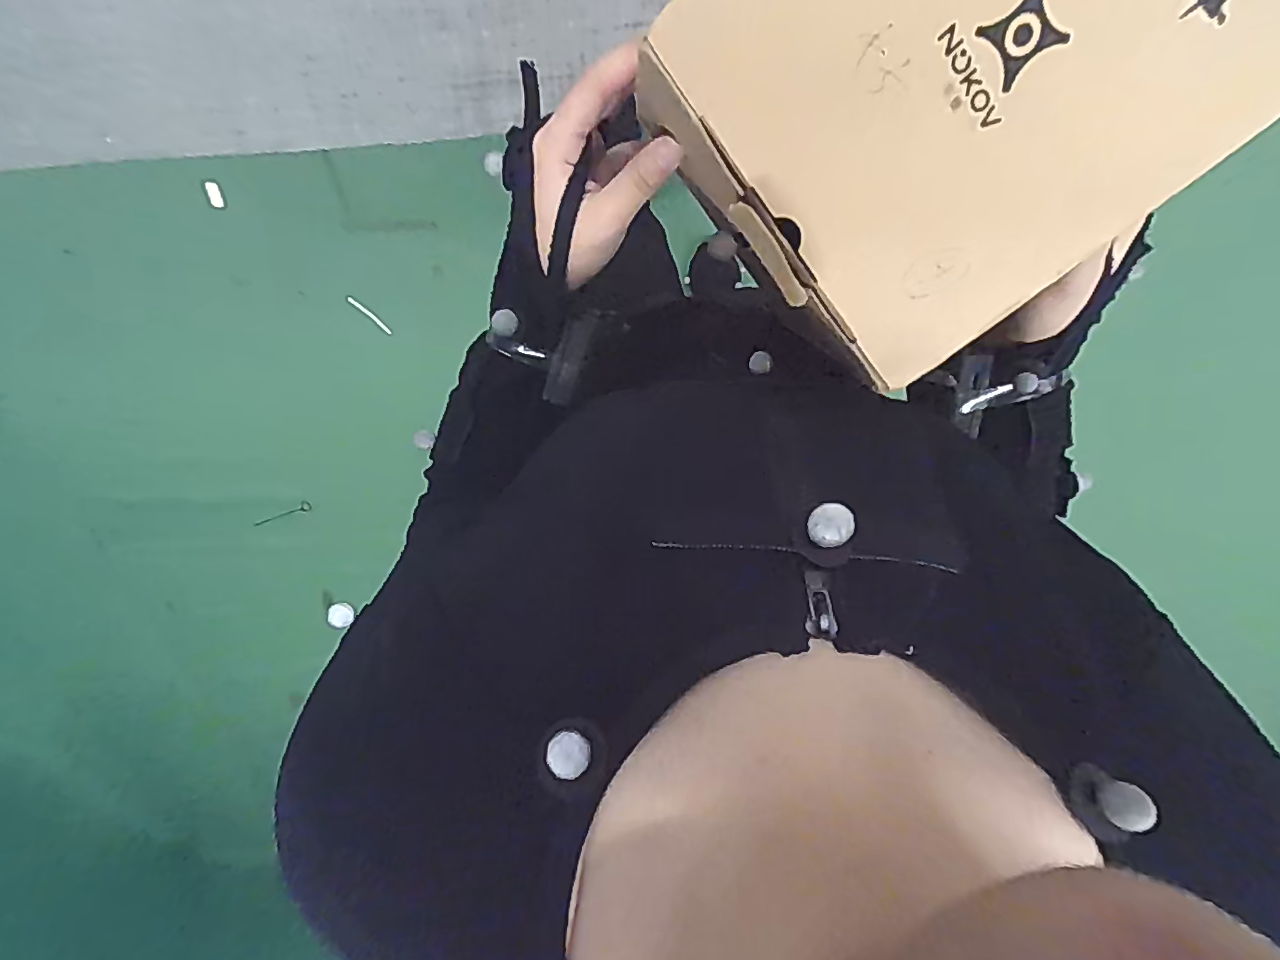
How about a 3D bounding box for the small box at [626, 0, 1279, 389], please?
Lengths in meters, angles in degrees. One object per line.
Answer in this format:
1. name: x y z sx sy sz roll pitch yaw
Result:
1. small box: 0.114 -0.178 0.264 0.179 0.176 0.168 -38 110 17
